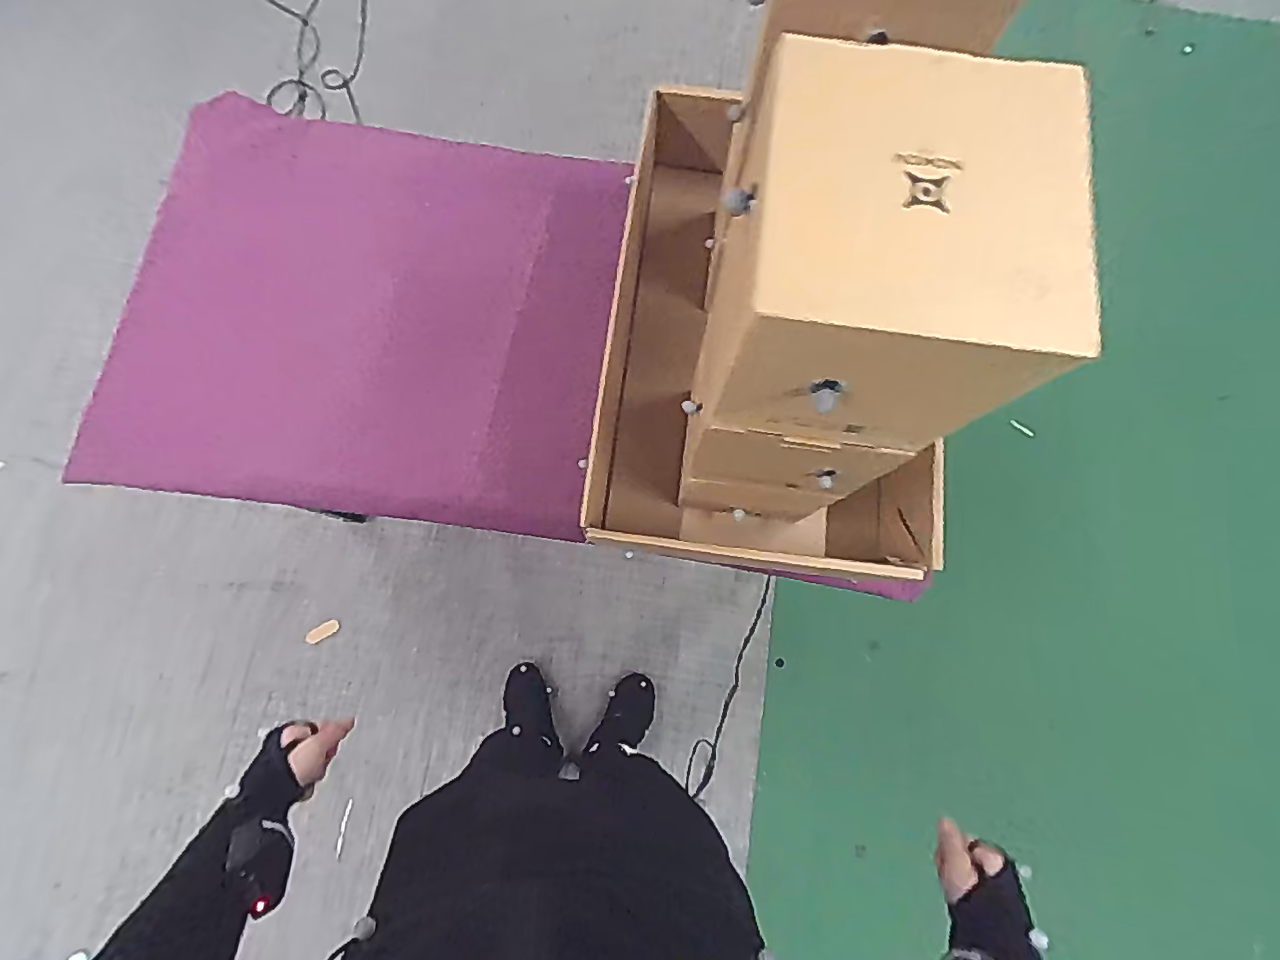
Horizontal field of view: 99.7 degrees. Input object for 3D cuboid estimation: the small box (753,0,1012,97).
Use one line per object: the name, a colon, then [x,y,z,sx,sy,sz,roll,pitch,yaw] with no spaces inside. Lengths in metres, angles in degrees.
small box: [0.190,-0.407,0.415,0.168,0.176,0.179,10,80,2]

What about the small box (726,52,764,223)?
small box: [0.192,-0.375,0.576,0.168,0.176,0.179,10,78,1]

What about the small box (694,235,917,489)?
small box: [0.146,-0.097,0.514,0.168,0.176,0.179,8,76,2]

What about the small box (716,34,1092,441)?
small box: [0.147,-0.137,0.357,0.168,0.176,0.179,8,76,2]
